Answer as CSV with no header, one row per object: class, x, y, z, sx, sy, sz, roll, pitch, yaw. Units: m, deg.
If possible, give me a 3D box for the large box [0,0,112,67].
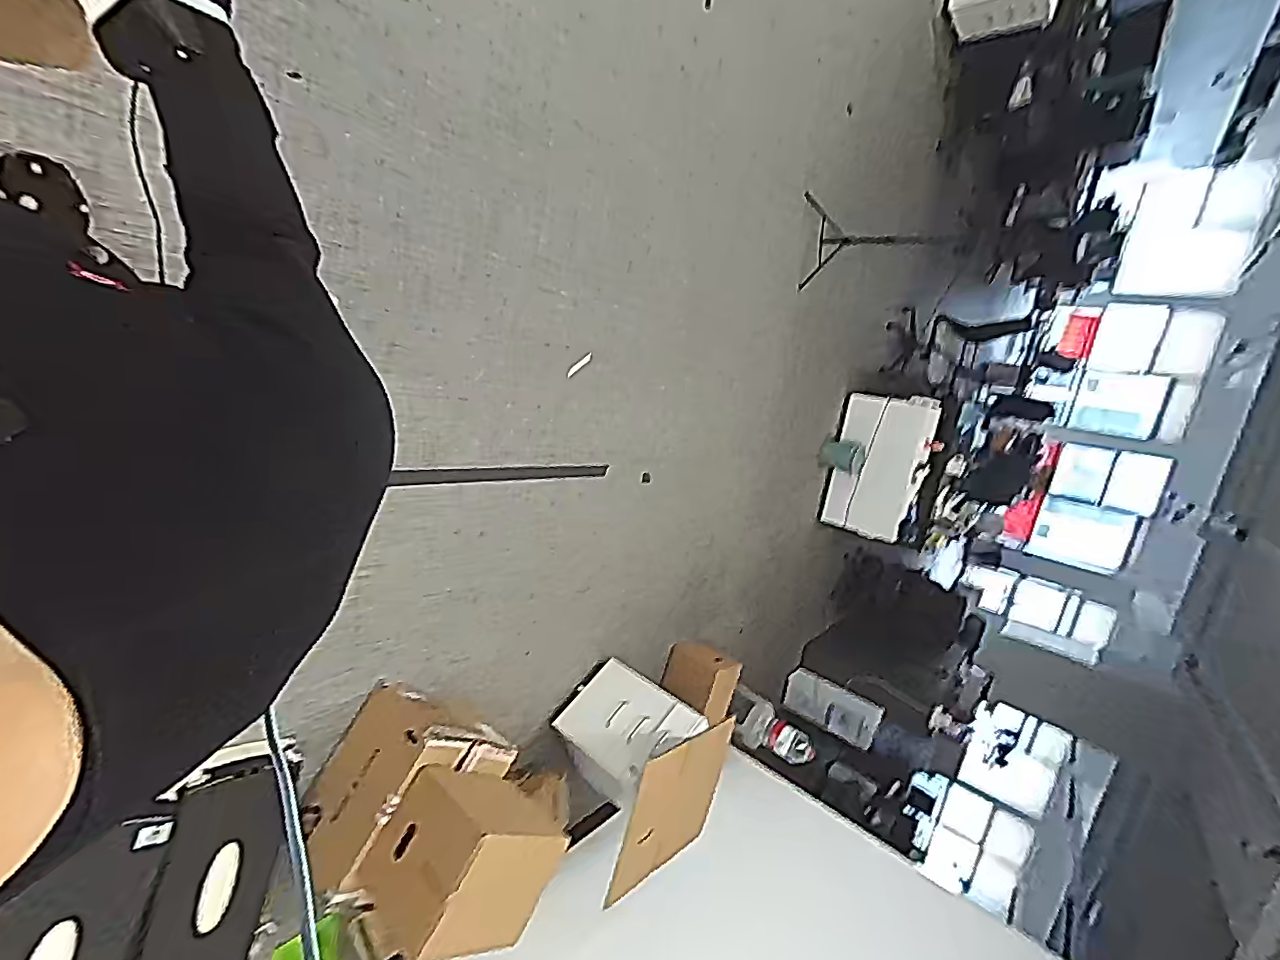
large box,-0.588,-0.460,0.266,0.408,0.320,0.320,-24,122,-43
